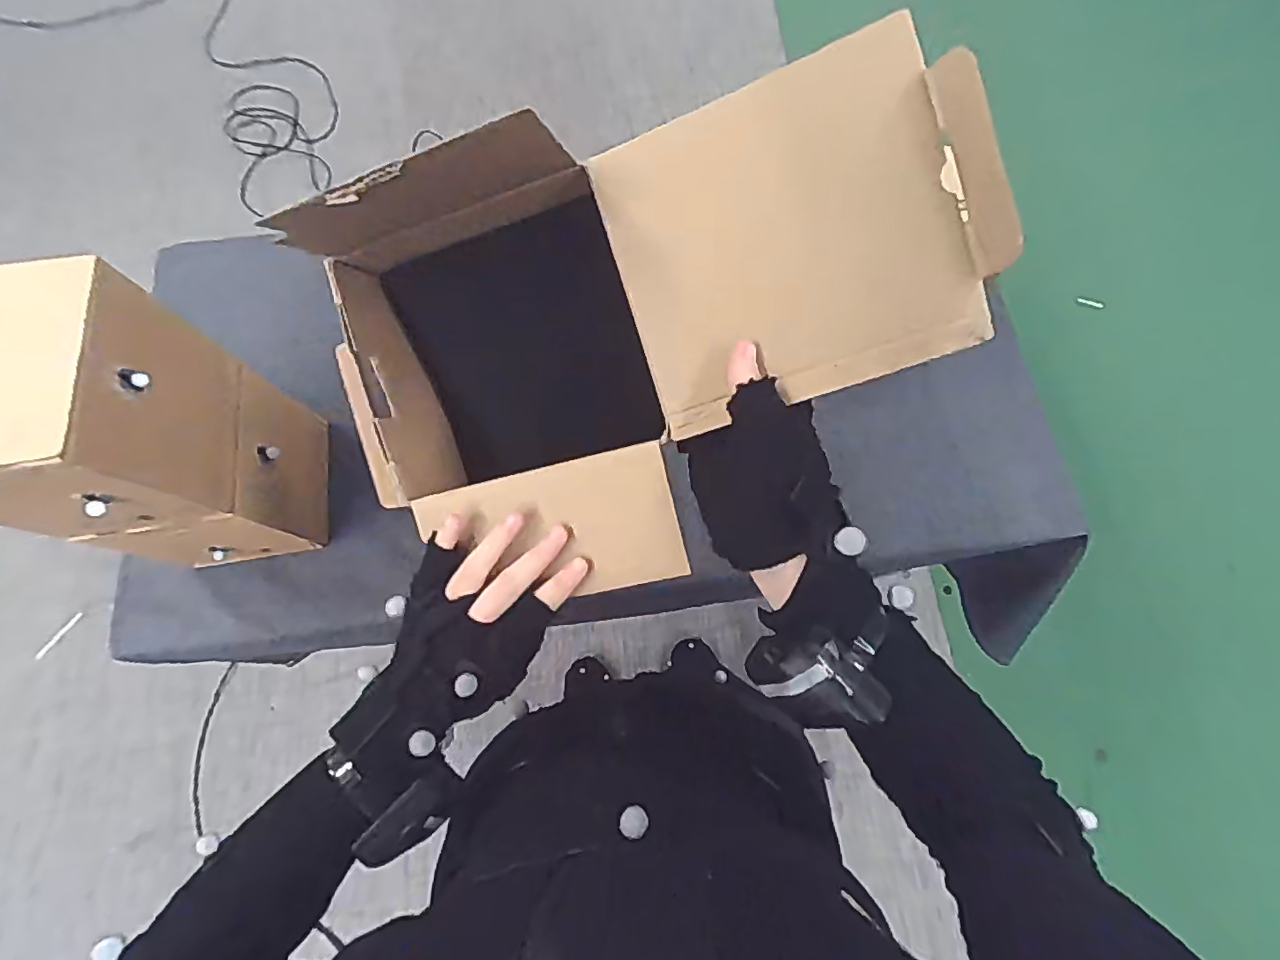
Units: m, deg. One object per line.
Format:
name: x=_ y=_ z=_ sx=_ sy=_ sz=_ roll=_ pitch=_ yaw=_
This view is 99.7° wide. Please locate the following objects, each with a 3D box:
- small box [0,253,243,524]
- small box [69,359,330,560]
small box: x=-0.490 y=-0.064 z=0.474 sx=0.168 sy=0.176 sz=0.179 roll=-7 pitch=73 yaw=-3
small box: x=-0.488 y=-0.015 z=0.630 sx=0.168 sy=0.176 sz=0.179 roll=-9 pitch=73 yaw=-3
